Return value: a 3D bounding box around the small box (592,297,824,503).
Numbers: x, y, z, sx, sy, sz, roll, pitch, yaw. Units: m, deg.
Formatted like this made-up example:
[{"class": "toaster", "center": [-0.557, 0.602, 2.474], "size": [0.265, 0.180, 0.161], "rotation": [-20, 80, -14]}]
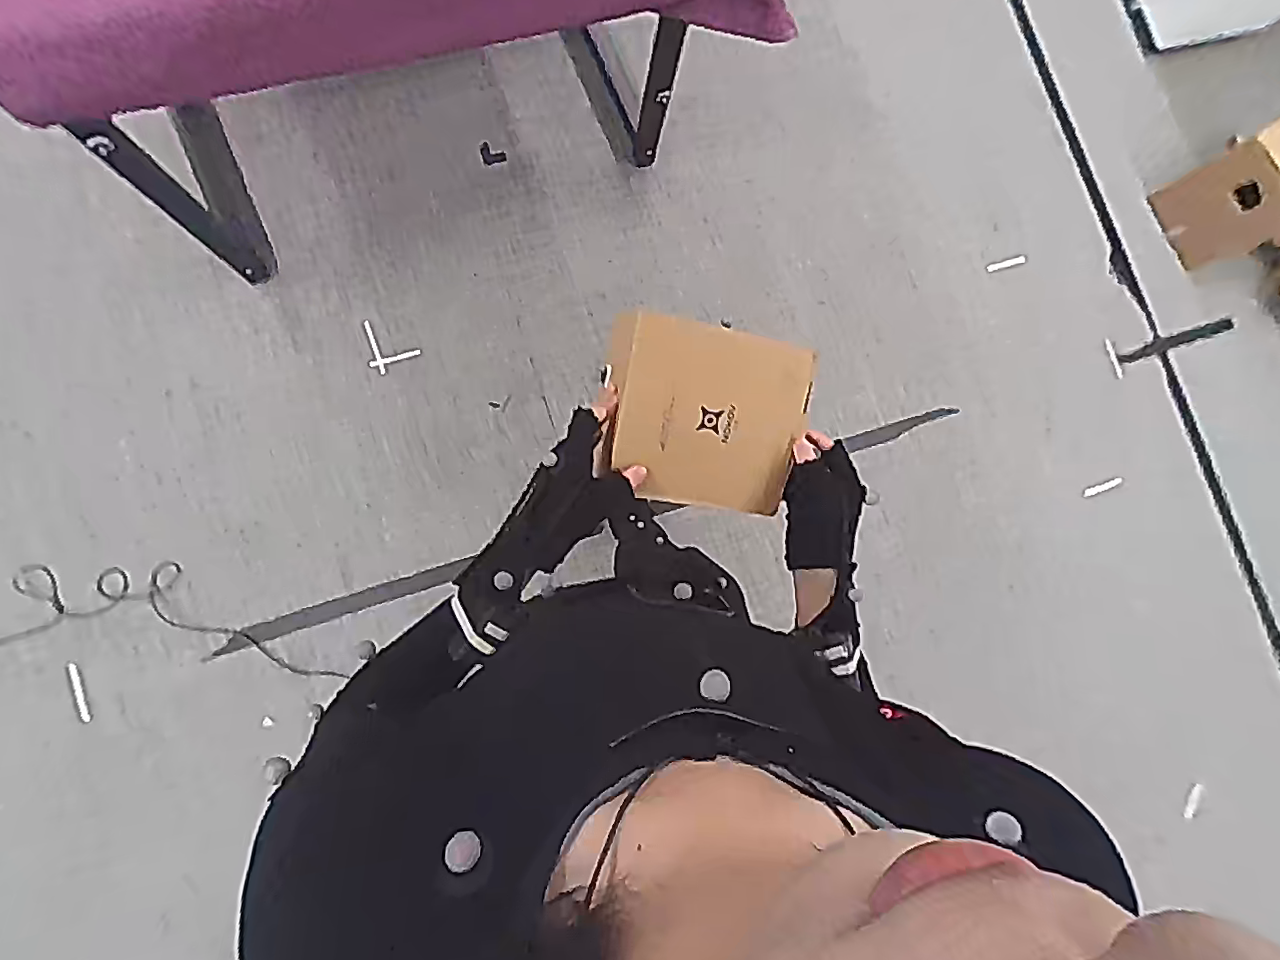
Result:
[{"class": "small box", "center": [0.054, -0.086, 0.562], "size": [0.179, 0.176, 0.168], "rotation": [7, 103, -13]}]
